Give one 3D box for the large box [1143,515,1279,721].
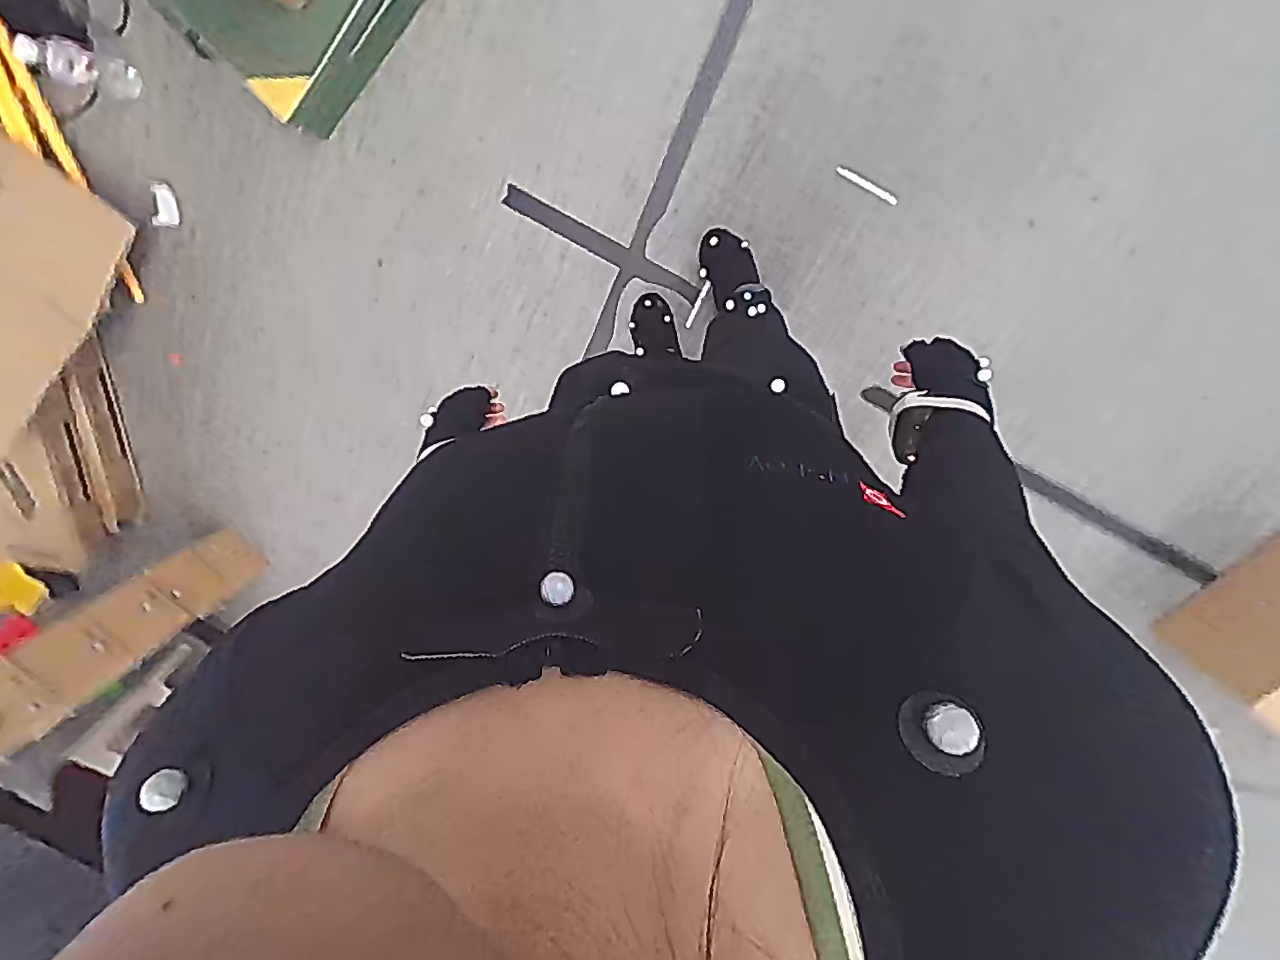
[{"bbox_3d":[1.660,0.370,1.370,0.320,0.320,0.408,33,112,-7],"label":"large box"}]
